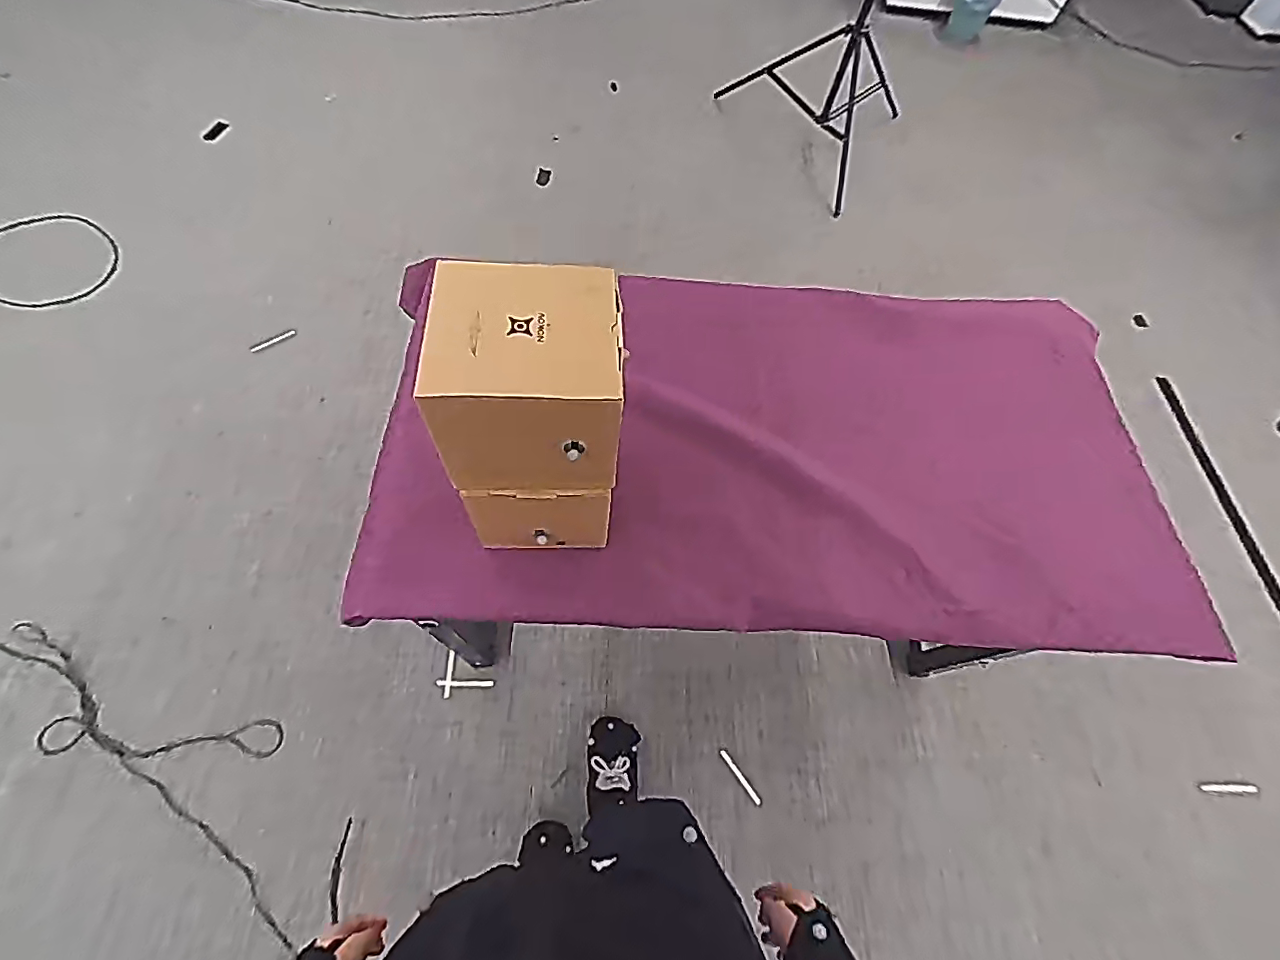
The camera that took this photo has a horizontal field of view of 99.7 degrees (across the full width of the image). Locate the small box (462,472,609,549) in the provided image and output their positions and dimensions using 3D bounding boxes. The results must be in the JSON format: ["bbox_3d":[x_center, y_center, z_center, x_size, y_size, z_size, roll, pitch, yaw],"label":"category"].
[{"bbox_3d":[-0.127,-0.021,0.711,0.168,0.176,0.179,0,63,-5],"label":"small box"}]

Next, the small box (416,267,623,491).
[{"bbox_3d":[-0.113,-0.097,0.568,0.179,0.176,0.168,-1,61,-6],"label":"small box"}]
